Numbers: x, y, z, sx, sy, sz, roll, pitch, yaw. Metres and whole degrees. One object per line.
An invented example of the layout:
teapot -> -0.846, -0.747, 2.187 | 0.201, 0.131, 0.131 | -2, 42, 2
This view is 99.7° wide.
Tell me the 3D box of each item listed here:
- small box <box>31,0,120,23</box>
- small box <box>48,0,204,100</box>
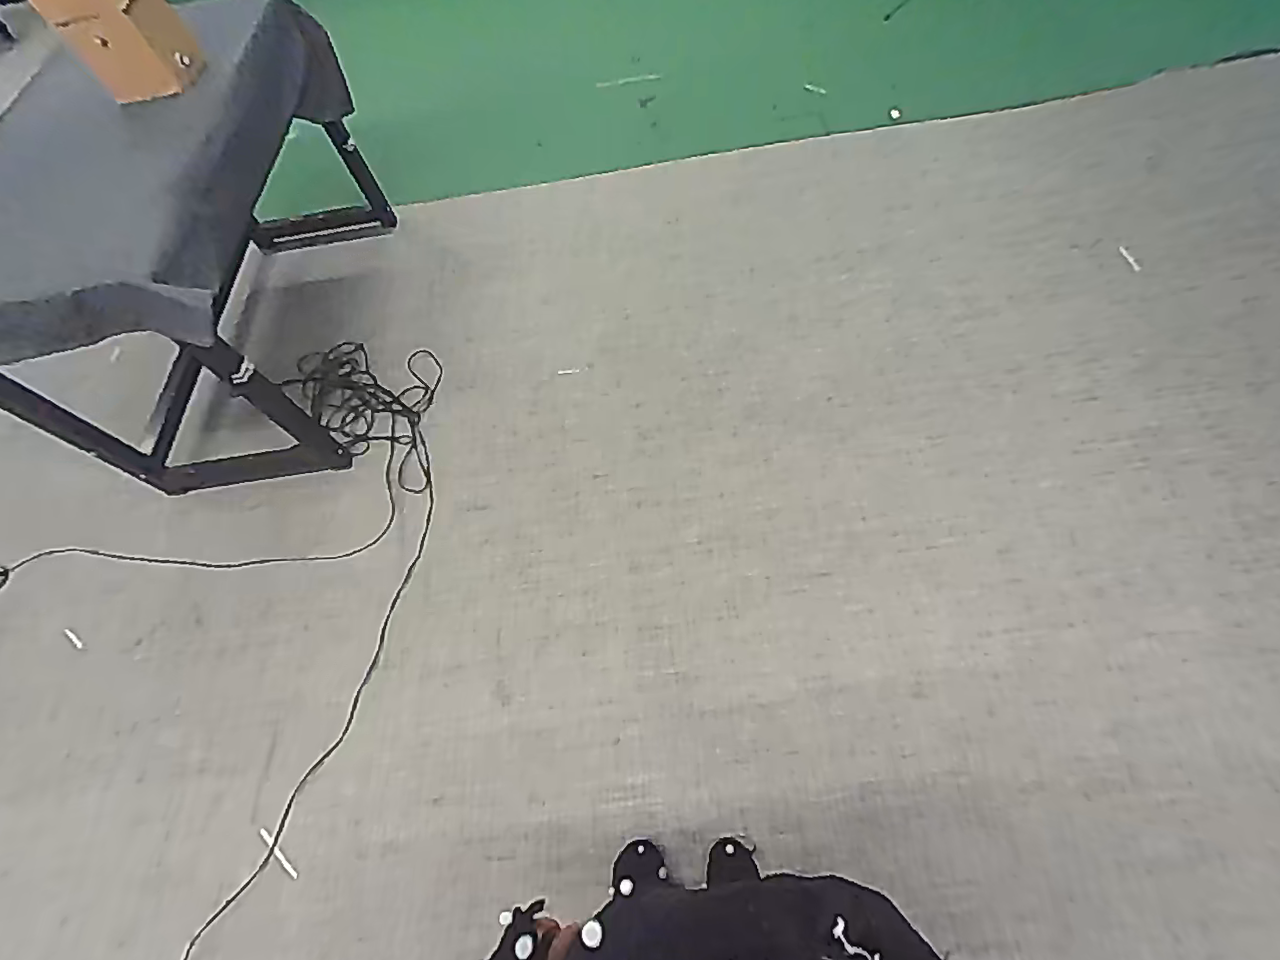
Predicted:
small box -> -1.198, -1.098, 1.120 | 0.179, 0.176, 0.168 | -9, 63, 4
small box -> -1.188, -1.026, 1.265 | 0.179, 0.176, 0.168 | -7, 63, 3
